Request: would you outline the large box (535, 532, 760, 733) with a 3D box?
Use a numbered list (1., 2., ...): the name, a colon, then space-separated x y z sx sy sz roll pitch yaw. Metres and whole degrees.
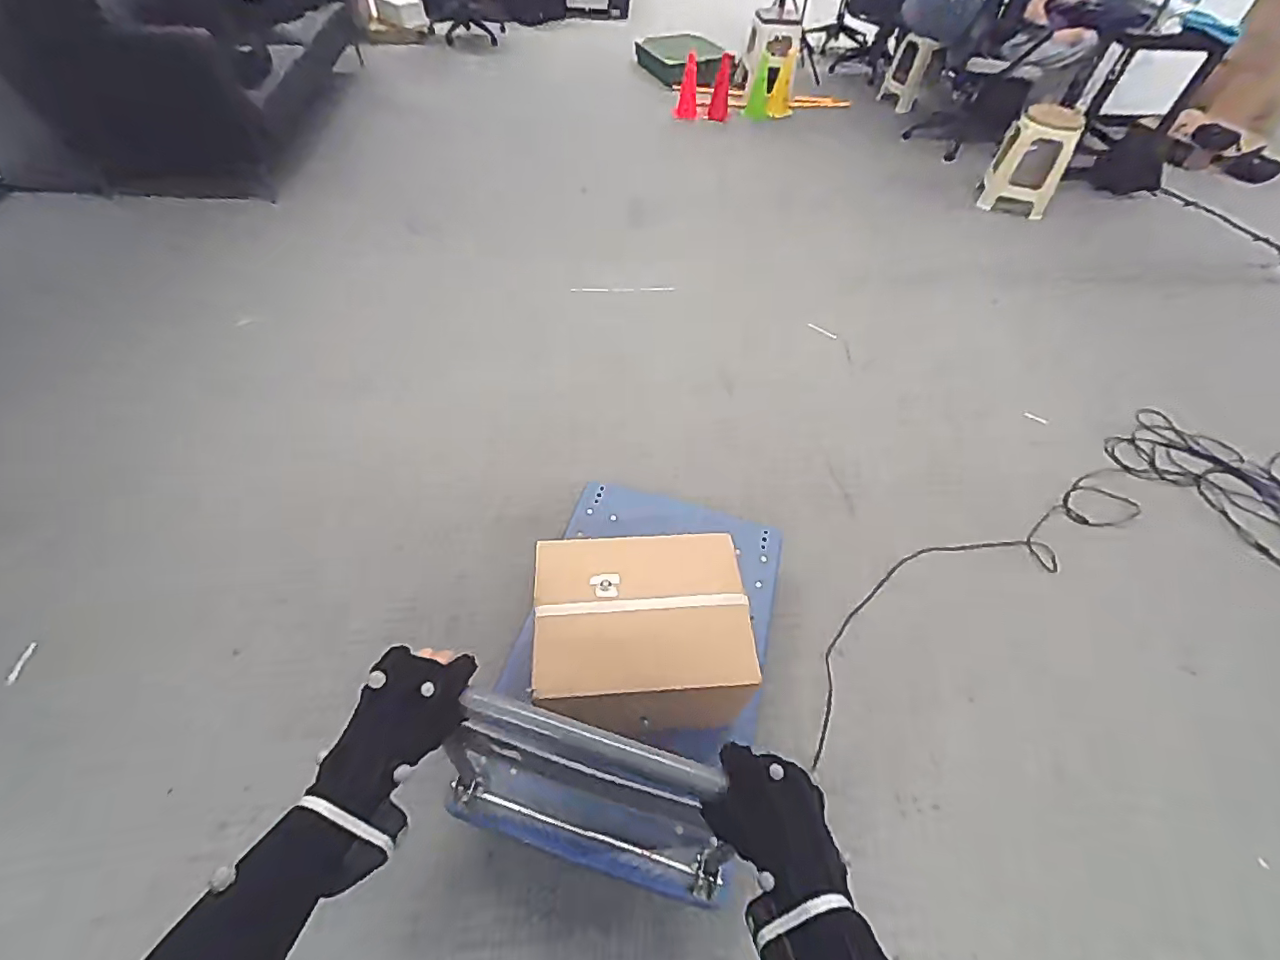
1. large box: 0.001 0.329 1.148 0.408 0.320 0.320 -2 52 -4
